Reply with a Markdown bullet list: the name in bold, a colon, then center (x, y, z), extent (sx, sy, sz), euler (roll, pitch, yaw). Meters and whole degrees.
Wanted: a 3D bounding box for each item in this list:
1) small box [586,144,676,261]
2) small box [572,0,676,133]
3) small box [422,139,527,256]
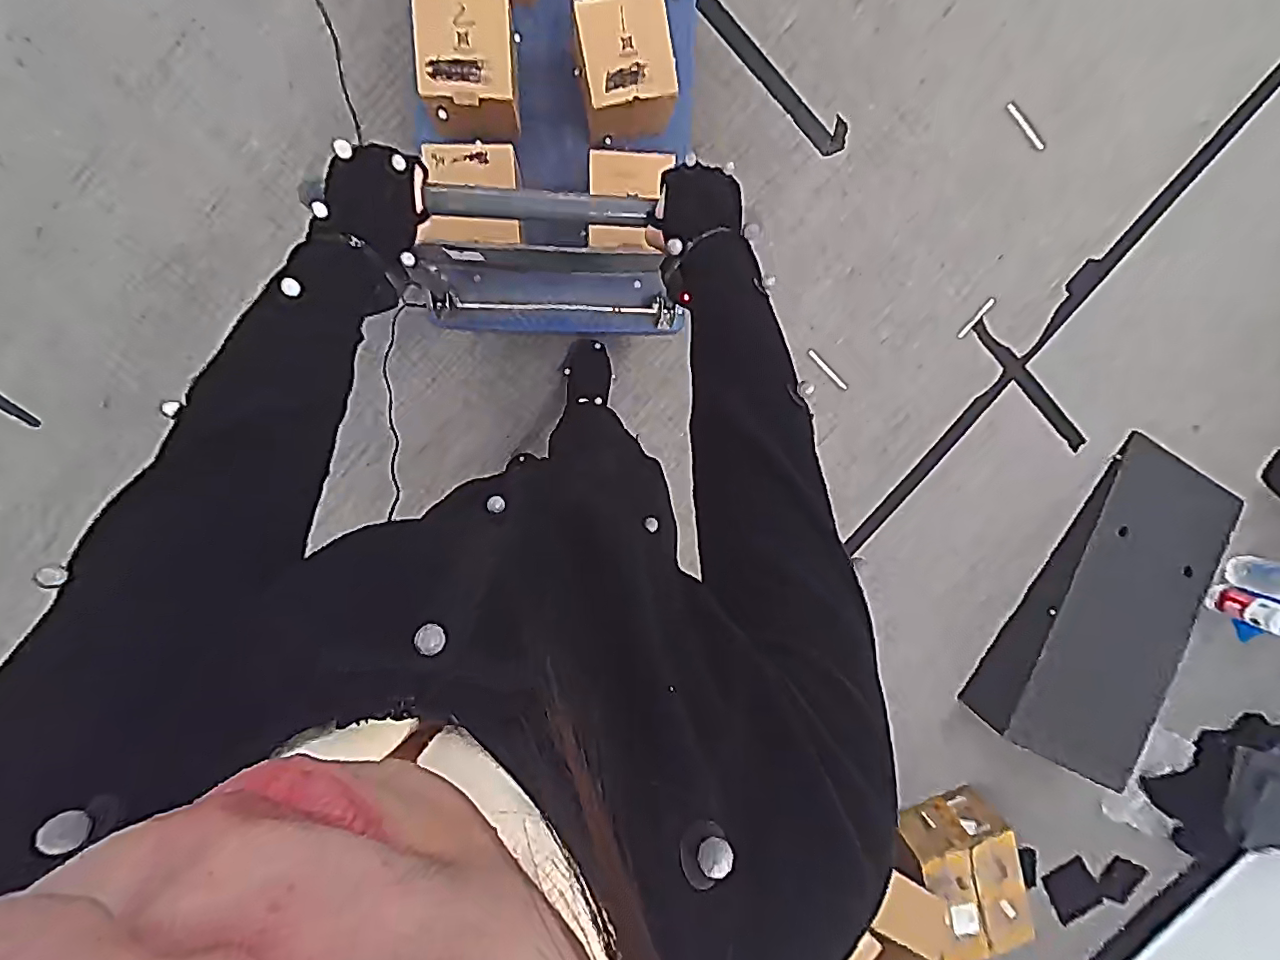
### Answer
- **small box**: center (-0.024, -0.558, 1.112), extent (0.168, 0.176, 0.179), euler (0, 100, -7)
- **small box**: center (-0.034, -0.811, 1.059), extent (0.168, 0.176, 0.179), euler (-12, 102, -4)
- **small box**: center (-0.320, -0.551, 1.077), extent (0.168, 0.176, 0.179), euler (-4, 102, -7)
